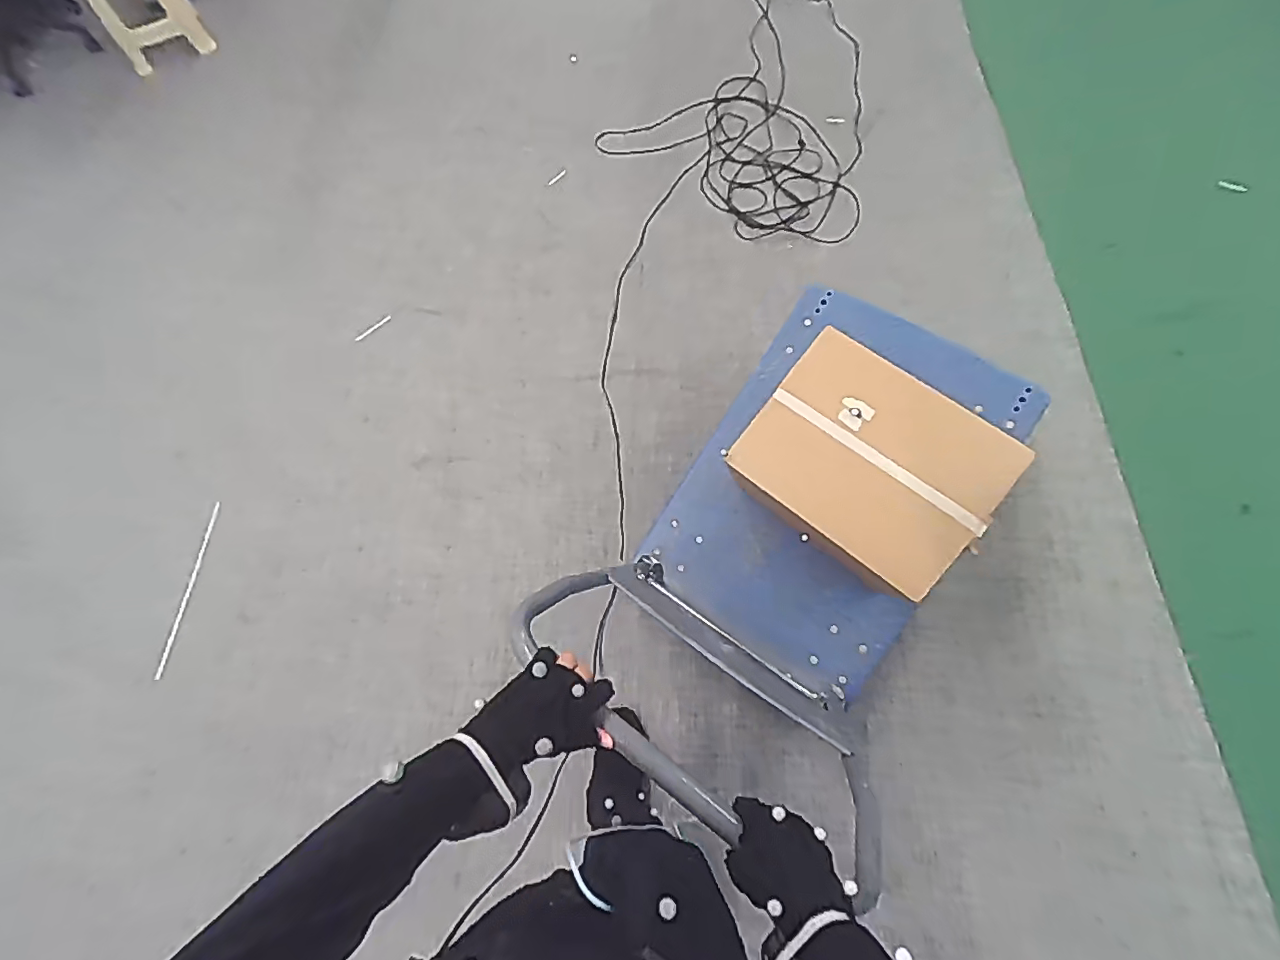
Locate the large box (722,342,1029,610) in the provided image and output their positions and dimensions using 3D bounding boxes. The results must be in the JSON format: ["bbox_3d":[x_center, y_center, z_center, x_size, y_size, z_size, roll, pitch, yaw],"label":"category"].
[{"bbox_3d":[0.430,0.004,1.075,0.408,0.320,0.320,39,91,17],"label":"large box"}]
